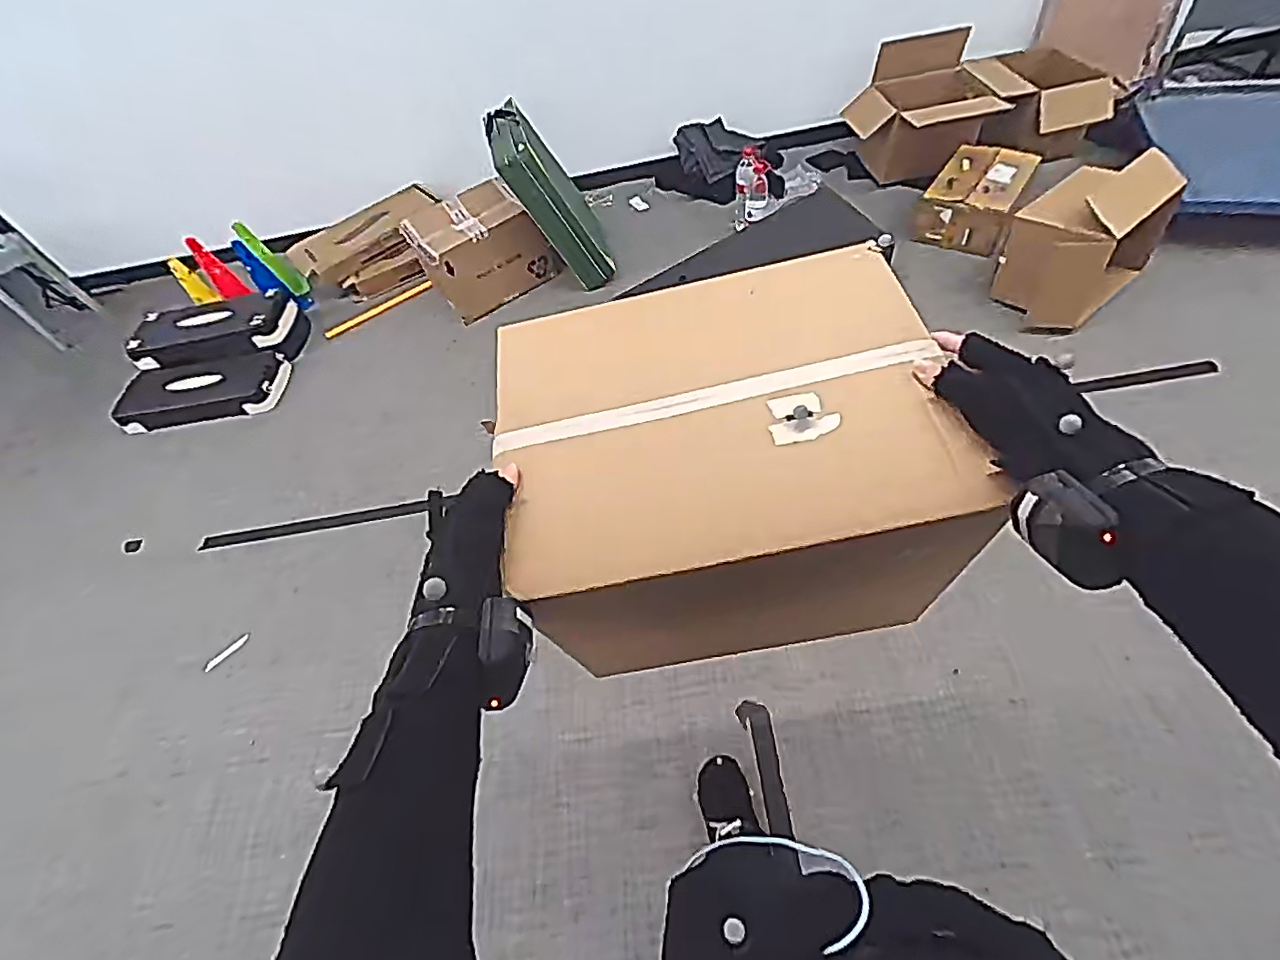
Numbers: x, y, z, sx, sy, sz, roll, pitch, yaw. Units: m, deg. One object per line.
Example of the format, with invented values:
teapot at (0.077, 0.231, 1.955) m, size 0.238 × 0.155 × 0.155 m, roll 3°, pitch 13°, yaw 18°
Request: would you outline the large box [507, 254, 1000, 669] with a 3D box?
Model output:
large box at (0.090, 0.001, 0.635) m, size 0.408 × 0.320 × 0.320 m, roll -12°, pitch 59°, yaw 3°
